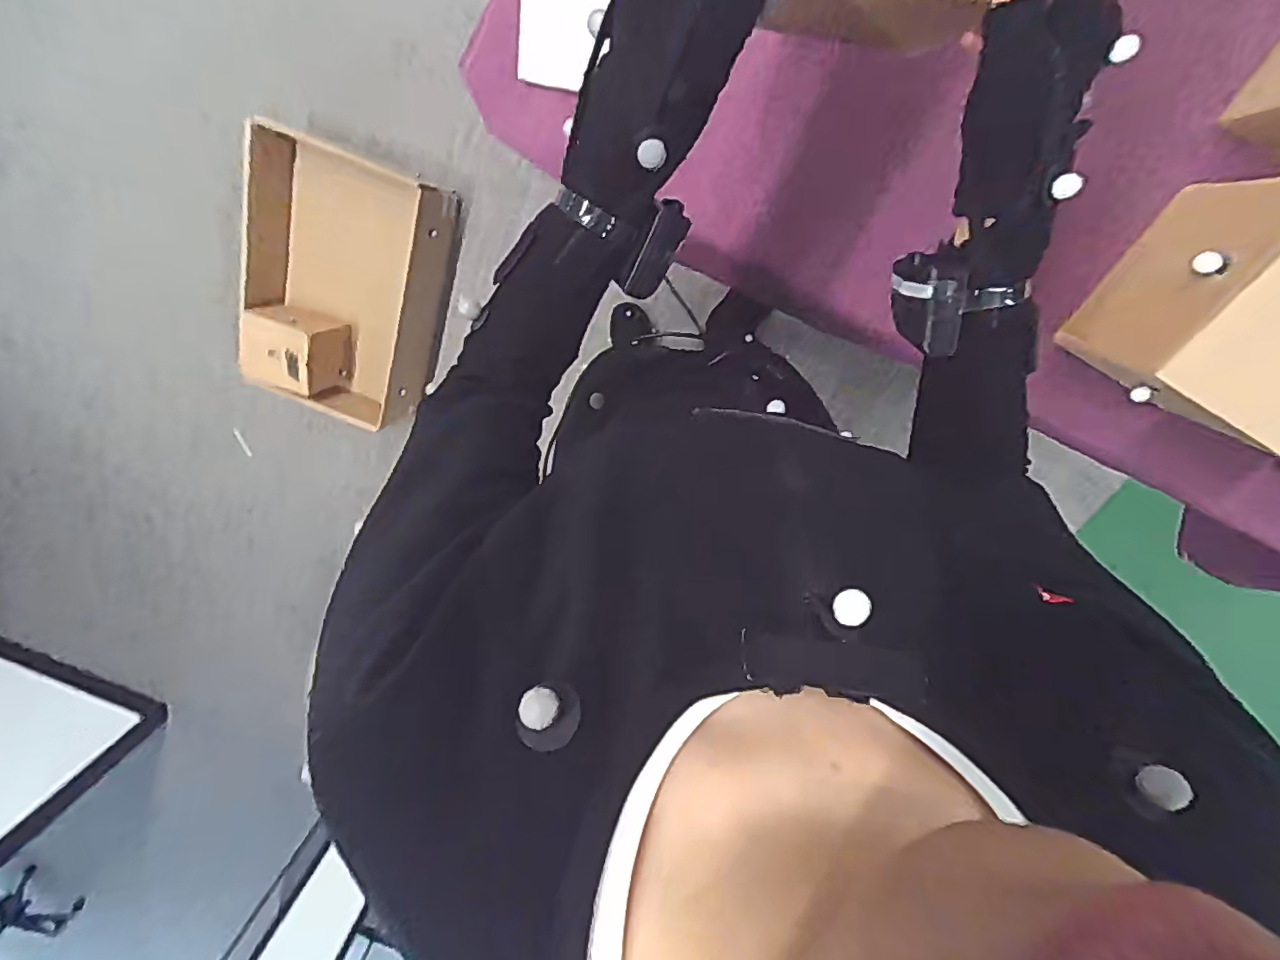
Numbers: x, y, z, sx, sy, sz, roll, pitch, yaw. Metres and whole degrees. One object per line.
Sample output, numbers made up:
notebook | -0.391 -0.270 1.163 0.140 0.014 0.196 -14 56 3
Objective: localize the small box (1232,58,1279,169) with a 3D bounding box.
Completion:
small box | 0.642 -0.327 0.406 0.168 0.176 0.179 28 116 -4

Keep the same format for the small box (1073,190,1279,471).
small box | 0.562 -0.144 0.506 0.168 0.176 0.179 30 116 -5
